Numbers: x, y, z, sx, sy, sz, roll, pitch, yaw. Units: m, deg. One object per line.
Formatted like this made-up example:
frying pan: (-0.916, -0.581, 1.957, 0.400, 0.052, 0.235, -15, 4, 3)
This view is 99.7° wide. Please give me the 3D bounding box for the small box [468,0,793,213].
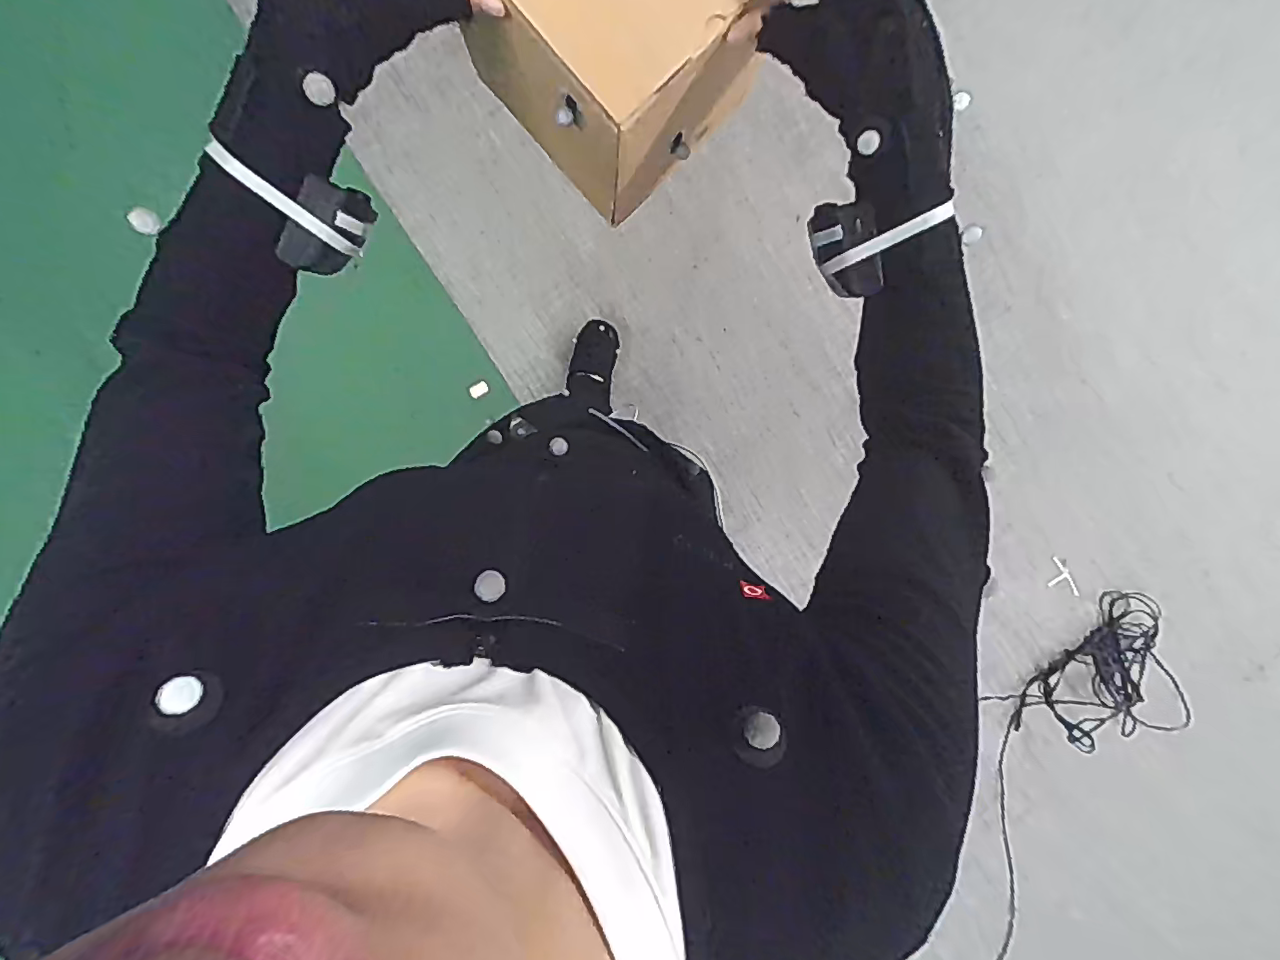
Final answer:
small box: (-0.015, -0.341, 0.400, 0.168, 0.176, 0.179, -43, 98, 1)
